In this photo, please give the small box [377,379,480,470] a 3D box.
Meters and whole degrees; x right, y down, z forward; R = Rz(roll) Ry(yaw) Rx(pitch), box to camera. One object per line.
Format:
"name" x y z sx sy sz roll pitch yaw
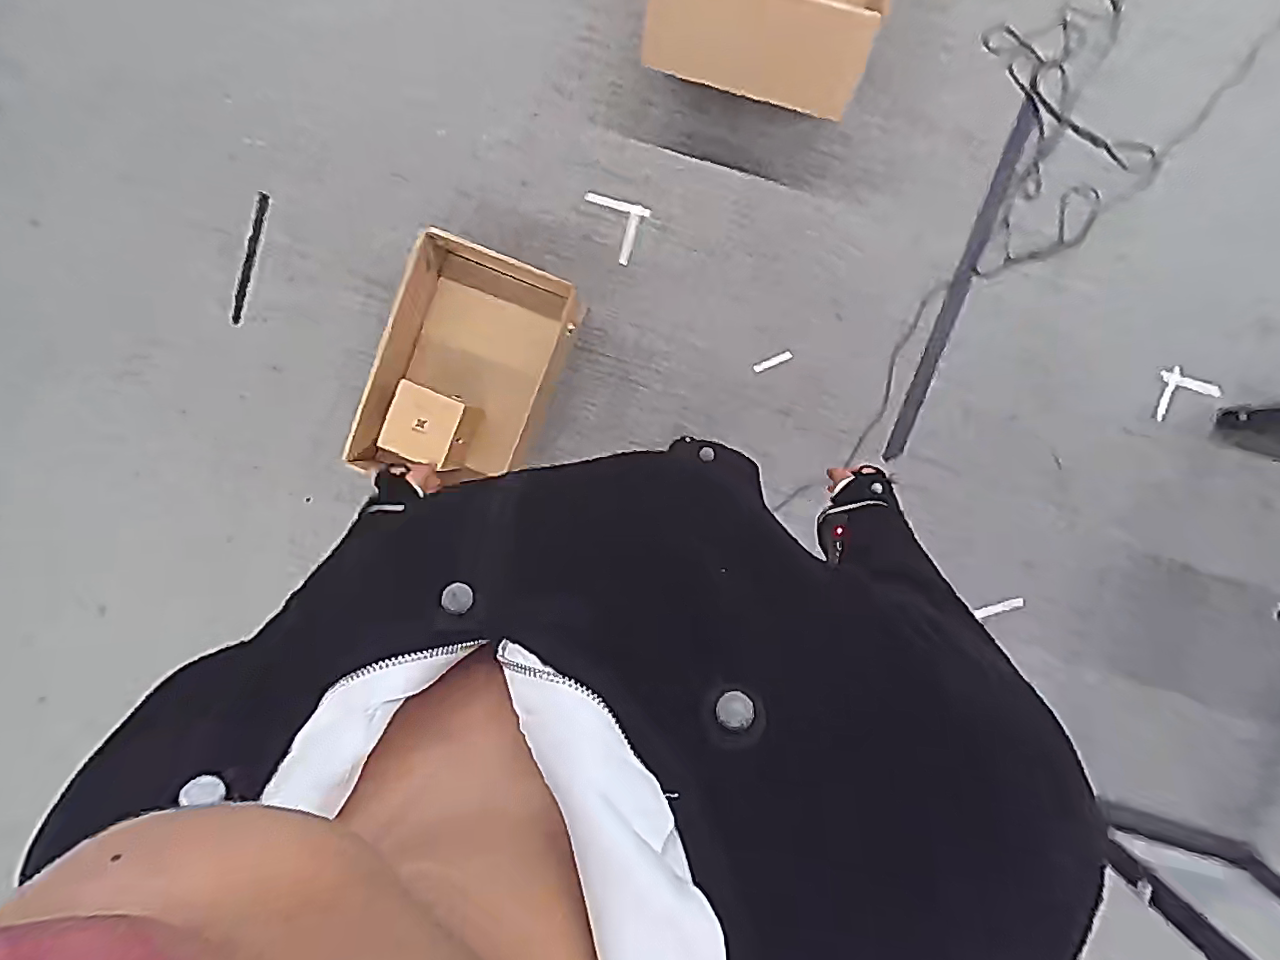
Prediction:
"small box" -0.530 -0.139 1.378 0.168 0.176 0.179 22 93 -2
